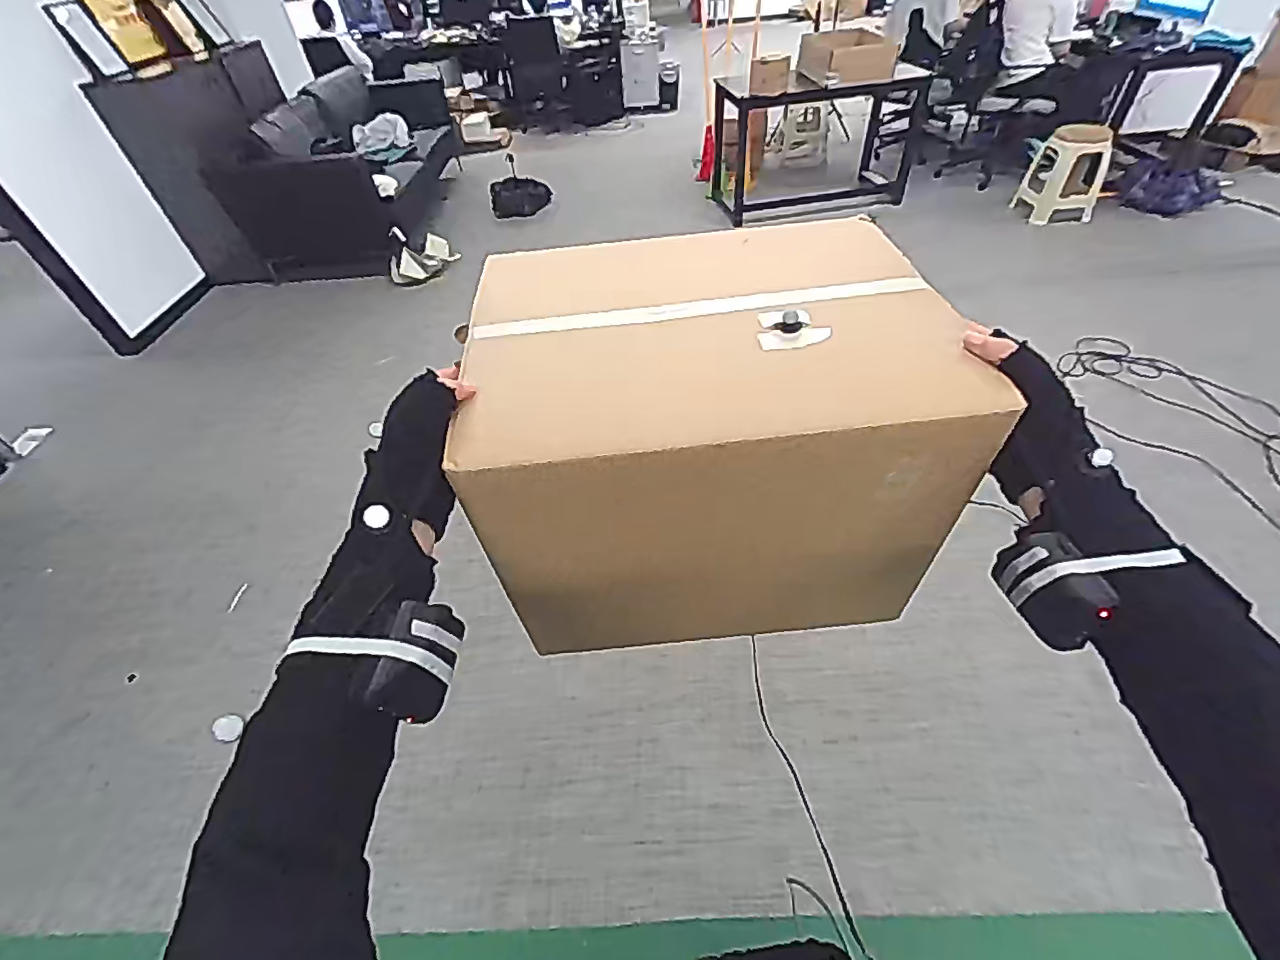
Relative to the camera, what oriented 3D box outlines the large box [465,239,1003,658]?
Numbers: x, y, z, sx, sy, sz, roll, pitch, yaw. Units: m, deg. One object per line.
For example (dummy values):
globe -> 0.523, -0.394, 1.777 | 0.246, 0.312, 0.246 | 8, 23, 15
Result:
large box -> 0.063, -0.031, 0.596 | 0.408, 0.320, 0.320 | -6, 49, -1
